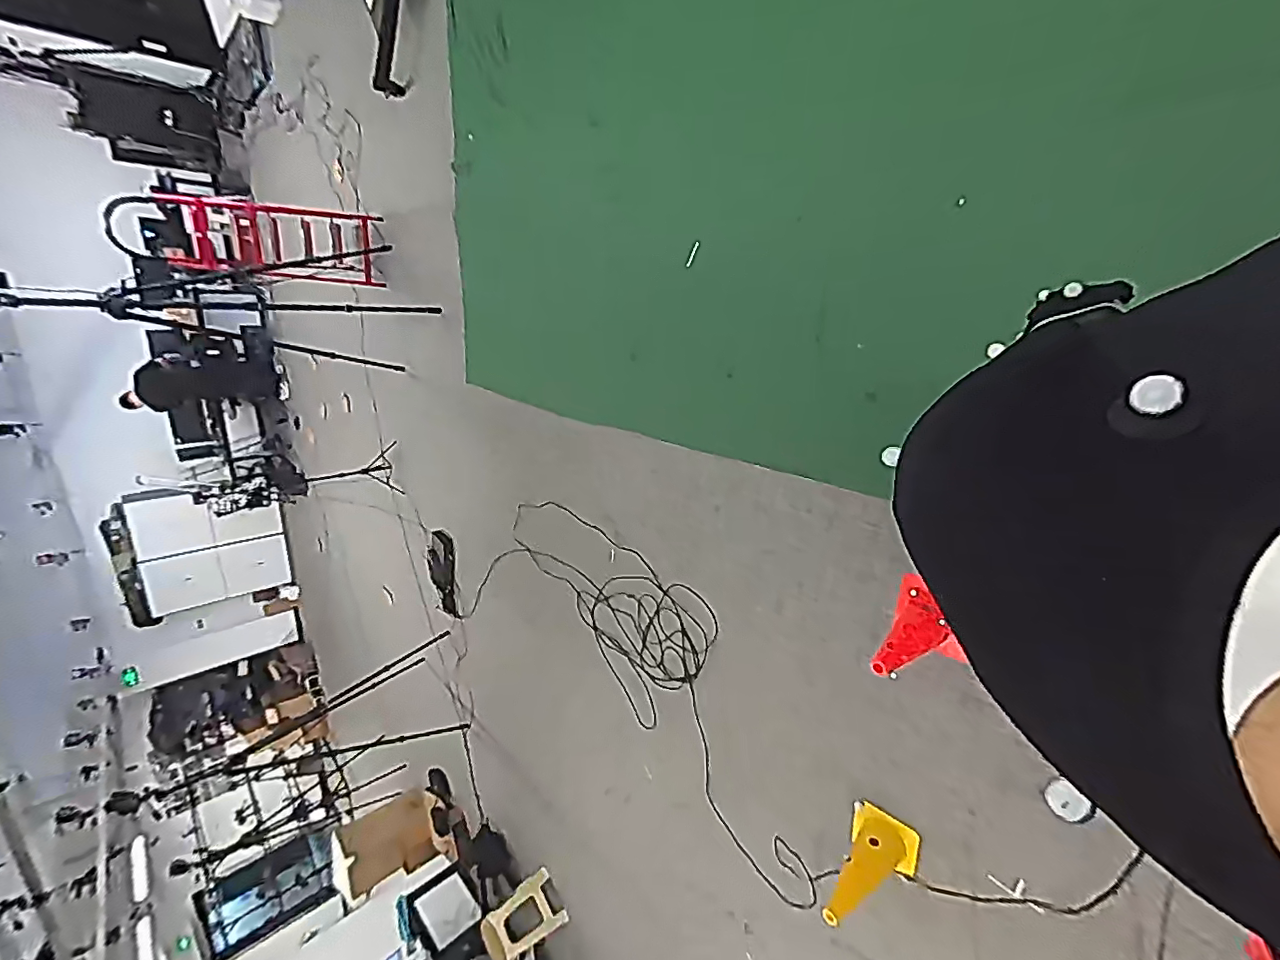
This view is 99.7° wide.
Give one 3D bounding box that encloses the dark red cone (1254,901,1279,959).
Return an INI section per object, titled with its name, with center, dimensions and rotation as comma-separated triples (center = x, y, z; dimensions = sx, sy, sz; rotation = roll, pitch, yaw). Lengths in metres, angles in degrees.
[dark red cone]
center = 1.218, 0.967, 0.925
dimensions = 0.202, 0.394, 0.201
rotation = 12, 108, 46

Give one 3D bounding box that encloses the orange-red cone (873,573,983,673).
[orange-red cone]
center = 0.695, 0.405, 1.379
dimensions = 0.198, 0.360, 0.199
rotation = 20, 116, 44
